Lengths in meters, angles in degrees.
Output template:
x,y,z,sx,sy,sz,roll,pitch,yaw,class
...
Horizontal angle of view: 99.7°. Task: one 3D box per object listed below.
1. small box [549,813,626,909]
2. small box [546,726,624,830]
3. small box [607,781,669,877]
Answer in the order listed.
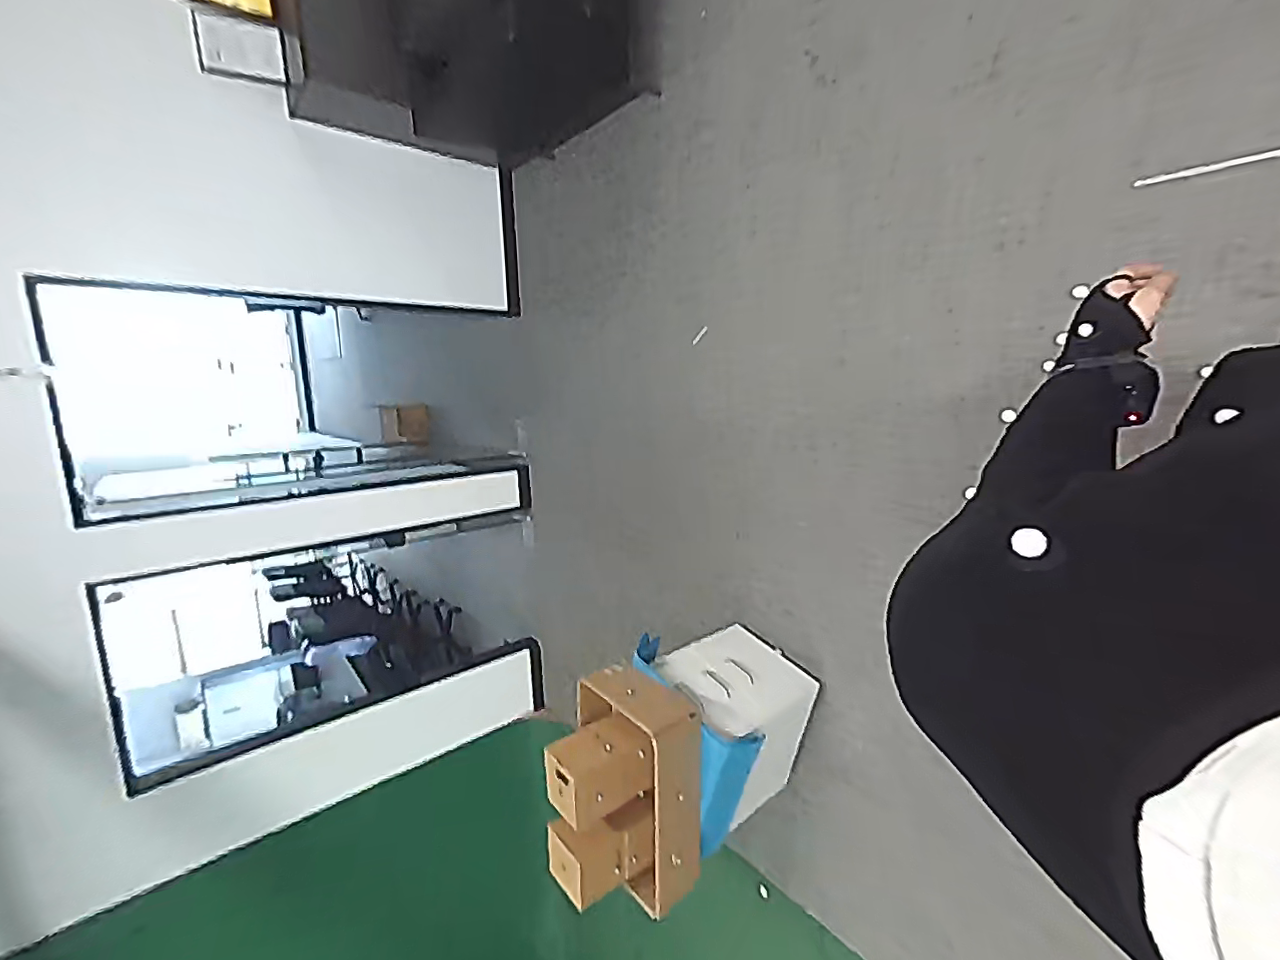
x,y,z,sx,sy,sz,roll,pitch,yaw,class
-0.159,1.118,1.631,0.179,0.176,0.168,12,106,50,small box
-0.158,0.858,1.578,0.168,0.176,0.179,12,107,51,small box
-0.028,1.100,1.727,0.179,0.176,0.168,13,106,51,small box
